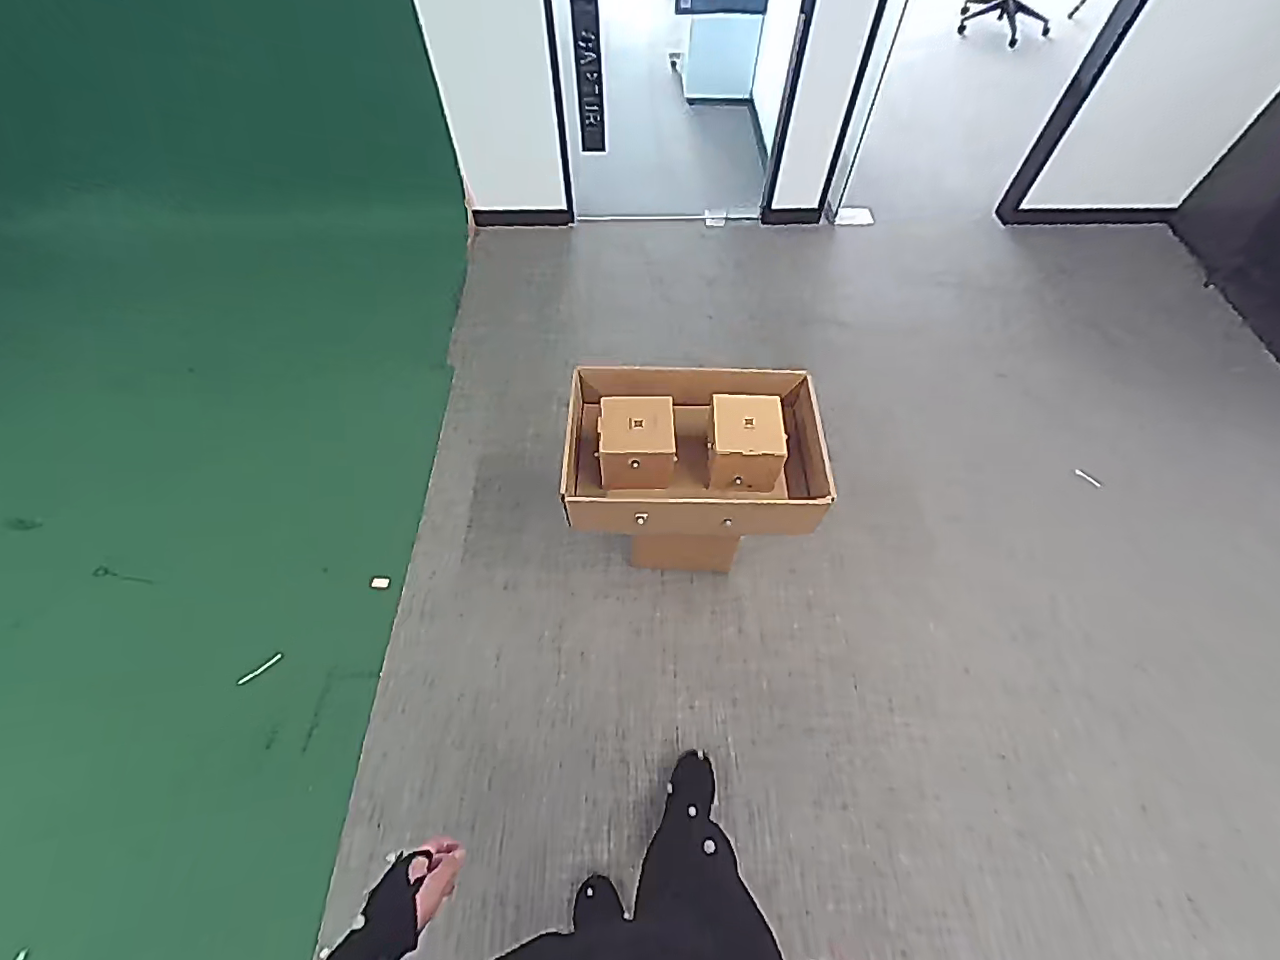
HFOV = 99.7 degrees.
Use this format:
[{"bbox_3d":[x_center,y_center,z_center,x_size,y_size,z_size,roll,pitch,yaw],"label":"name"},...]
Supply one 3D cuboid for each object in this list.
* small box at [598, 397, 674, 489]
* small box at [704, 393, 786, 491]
[{"bbox_3d":[-0.011,-0.088,1.333,0.179,0.176,0.168,1,58,-2],"label":"small box"},{"bbox_3d":[0.252,-0.092,1.338,0.168,0.176,0.179,2,59,0],"label":"small box"}]
